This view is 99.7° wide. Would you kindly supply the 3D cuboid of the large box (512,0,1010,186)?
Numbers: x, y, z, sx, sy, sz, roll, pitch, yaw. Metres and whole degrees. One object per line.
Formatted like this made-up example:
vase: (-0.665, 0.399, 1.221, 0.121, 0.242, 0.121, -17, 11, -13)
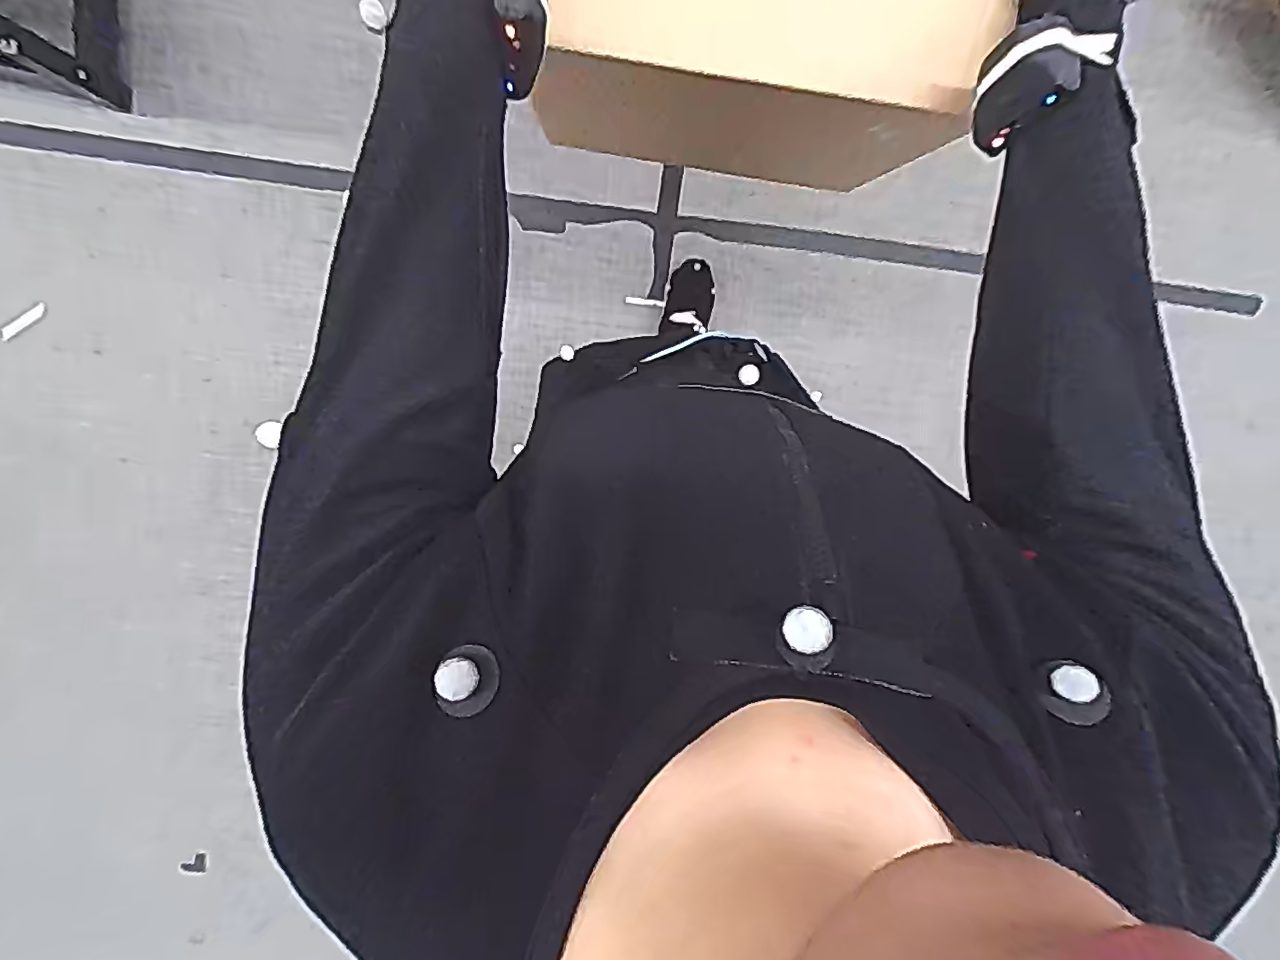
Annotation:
large box: (0.101, -0.515, 0.539, 0.408, 0.320, 0.320, 6, 109, -5)
